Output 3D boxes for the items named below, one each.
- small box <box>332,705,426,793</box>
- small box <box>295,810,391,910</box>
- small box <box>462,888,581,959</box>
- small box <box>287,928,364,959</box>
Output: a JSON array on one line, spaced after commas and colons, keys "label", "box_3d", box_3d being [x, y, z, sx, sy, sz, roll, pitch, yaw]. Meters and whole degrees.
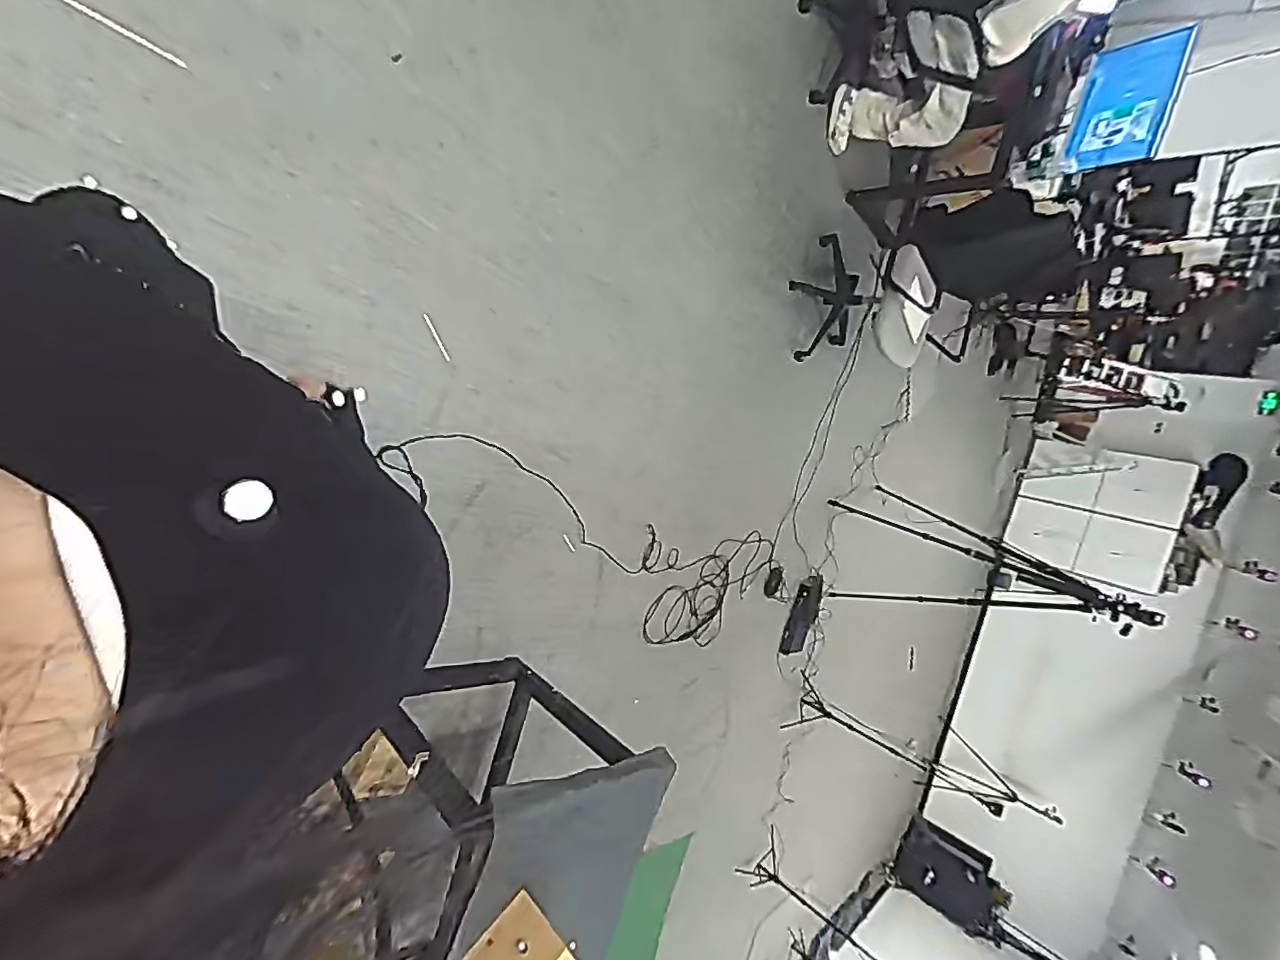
[{"label": "small box", "box_3d": [-0.777, 0.788, 1.599, 0.168, 0.176, 0.179, 32, 78, -47]}, {"label": "small box", "box_3d": [-0.883, 1.119, 1.598, 0.168, 0.176, 0.179, 44, 69, -46]}, {"label": "small box", "box_3d": [-0.247, 1.026, 1.152, 0.168, 0.176, 0.179, -38, 128, -32]}, {"label": "small box", "box_3d": [-0.973, 1.513, 1.637, 0.168, 0.176, 0.179, 23, 87, -48]}]
